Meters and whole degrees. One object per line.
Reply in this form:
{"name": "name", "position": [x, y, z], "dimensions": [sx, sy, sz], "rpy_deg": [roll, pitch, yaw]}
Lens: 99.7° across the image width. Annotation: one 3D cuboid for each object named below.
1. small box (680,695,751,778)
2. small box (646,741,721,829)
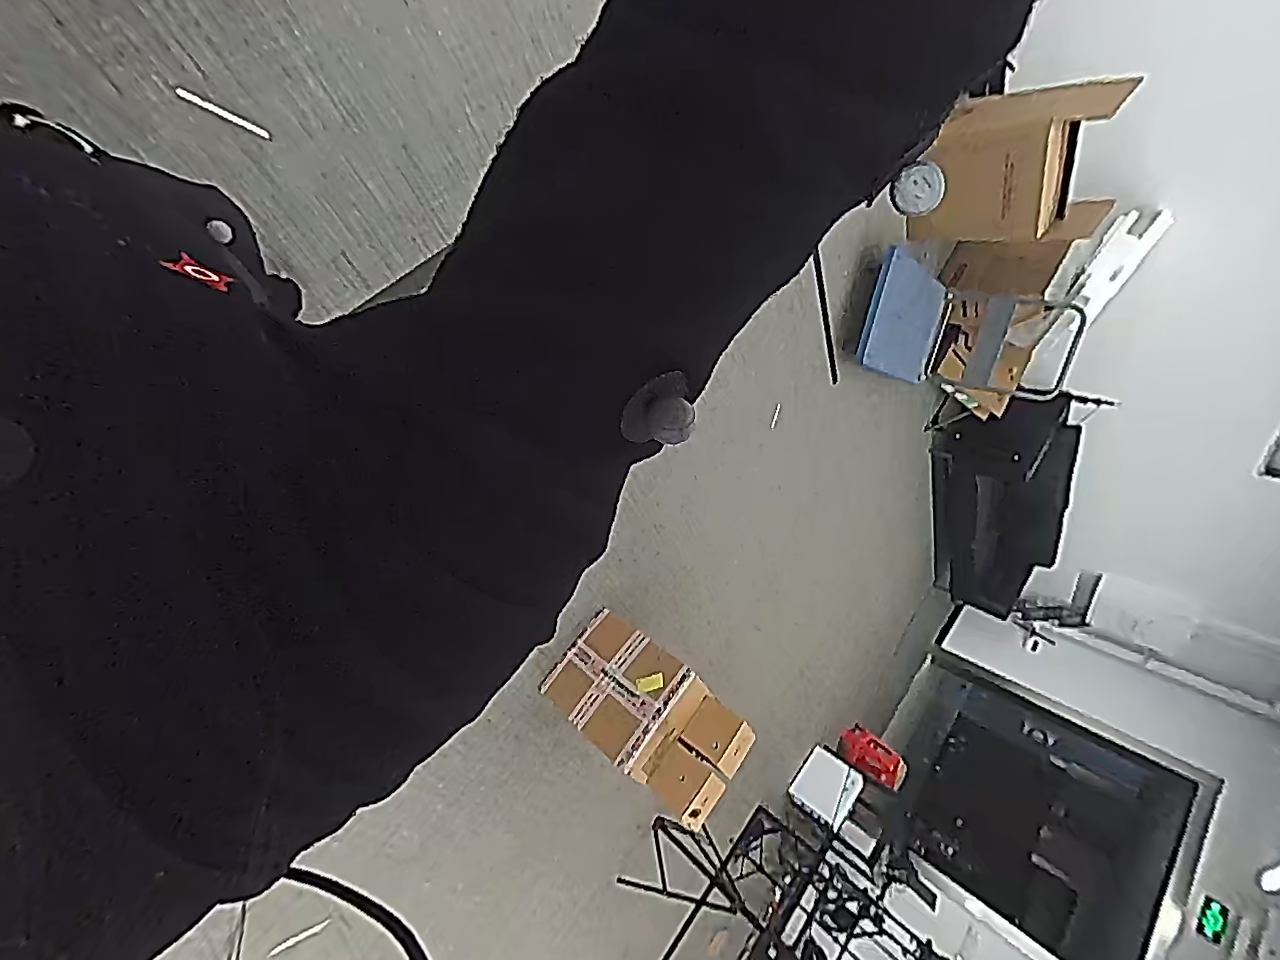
{"name": "small box", "position": [0.261, 0.905, 1.915], "dimensions": [0.179, 0.176, 0.168], "rpy_deg": [-49, 135, -22]}
{"name": "small box", "position": [0.143, 1.042, 1.855], "dimensions": [0.179, 0.176, 0.168], "rpy_deg": [-48, 133, -19]}
